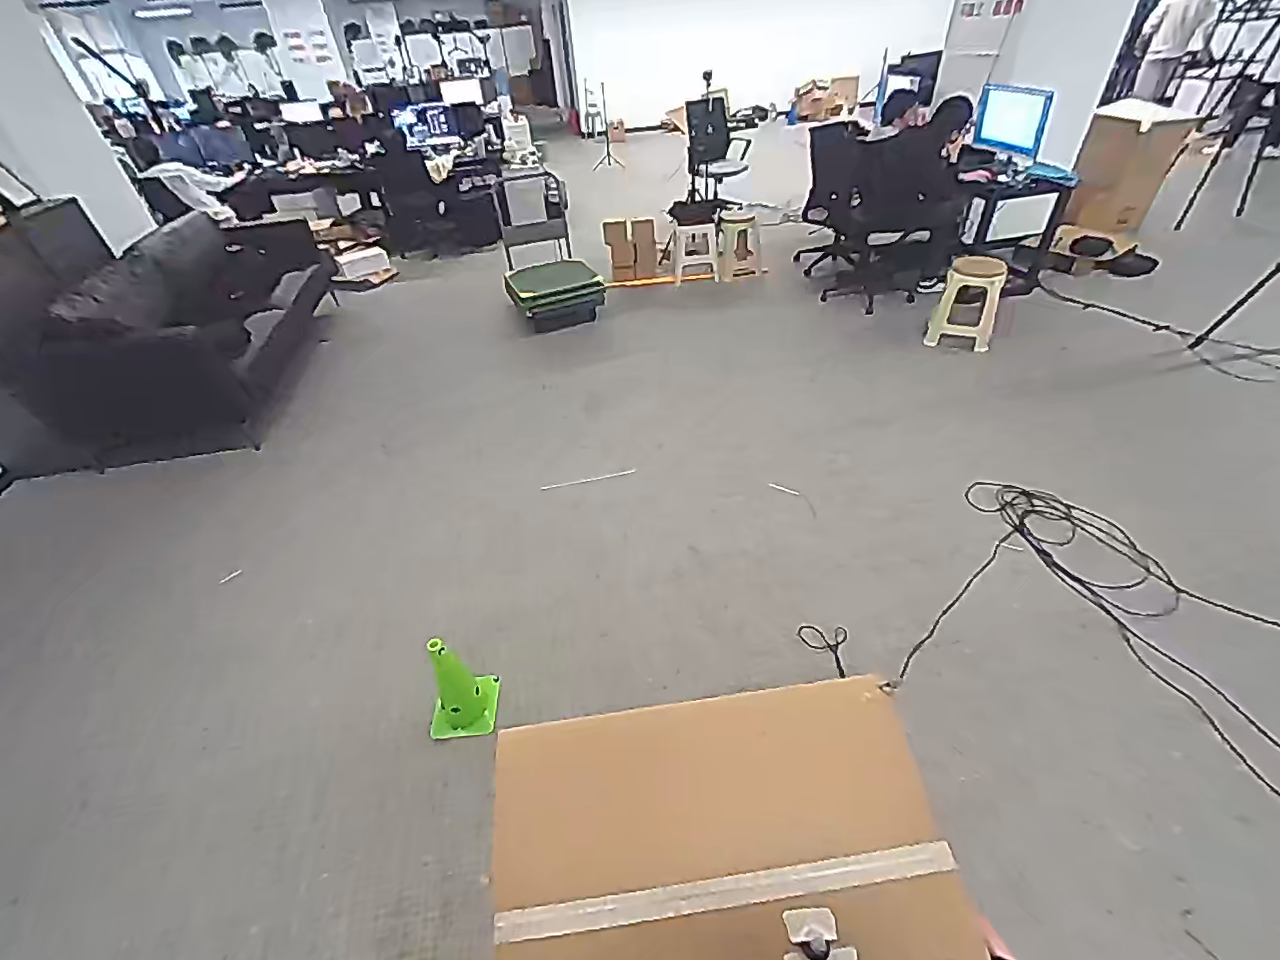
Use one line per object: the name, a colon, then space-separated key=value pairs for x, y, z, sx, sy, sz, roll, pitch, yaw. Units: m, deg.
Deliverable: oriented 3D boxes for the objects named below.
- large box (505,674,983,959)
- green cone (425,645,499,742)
large box: x=0.084 y=0.443 z=0.609 sx=0.408 sy=0.320 sz=0.320 roll=-8 pitch=58 yaw=-2
green cone: x=-0.577 y=0.611 z=1.637 sx=0.200 sy=0.368 sz=0.202 roll=-7 pitch=41 yaw=-1
